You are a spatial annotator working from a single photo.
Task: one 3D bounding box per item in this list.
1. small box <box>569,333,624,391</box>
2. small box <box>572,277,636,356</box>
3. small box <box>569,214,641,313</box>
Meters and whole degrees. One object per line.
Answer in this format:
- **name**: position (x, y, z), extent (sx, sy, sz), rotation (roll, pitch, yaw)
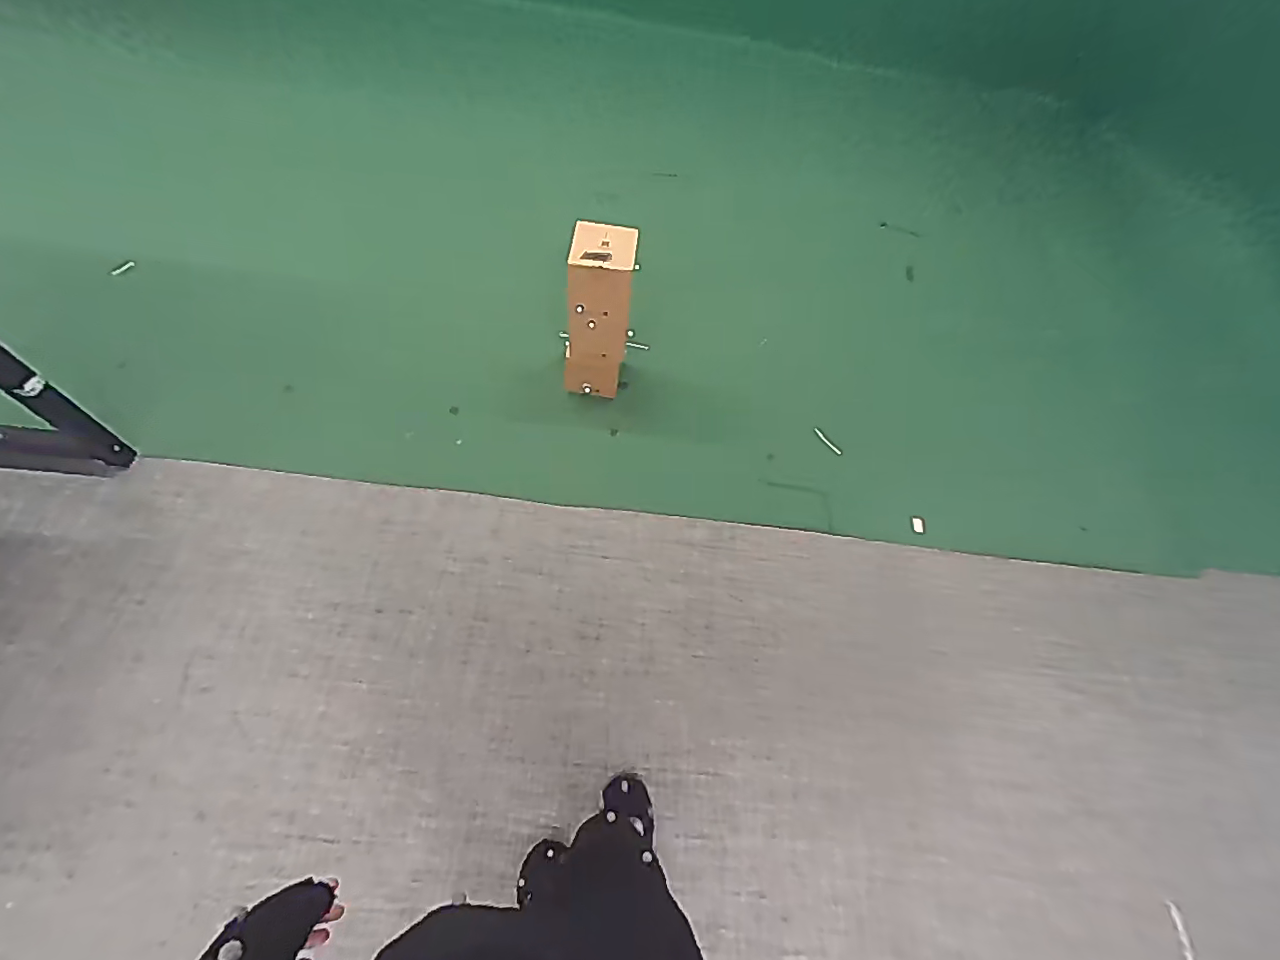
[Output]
- **small box**: position (-0.135, -0.412, 1.736), extent (0.168, 0.176, 0.179), rotation (7, 61, -2)
- **small box**: position (-0.108, -0.496, 1.597), extent (0.168, 0.176, 0.179), rotation (7, 59, -2)
- **small box**: position (-0.094, -0.577, 1.454), extent (0.168, 0.176, 0.179), rotation (8, 59, -3)
